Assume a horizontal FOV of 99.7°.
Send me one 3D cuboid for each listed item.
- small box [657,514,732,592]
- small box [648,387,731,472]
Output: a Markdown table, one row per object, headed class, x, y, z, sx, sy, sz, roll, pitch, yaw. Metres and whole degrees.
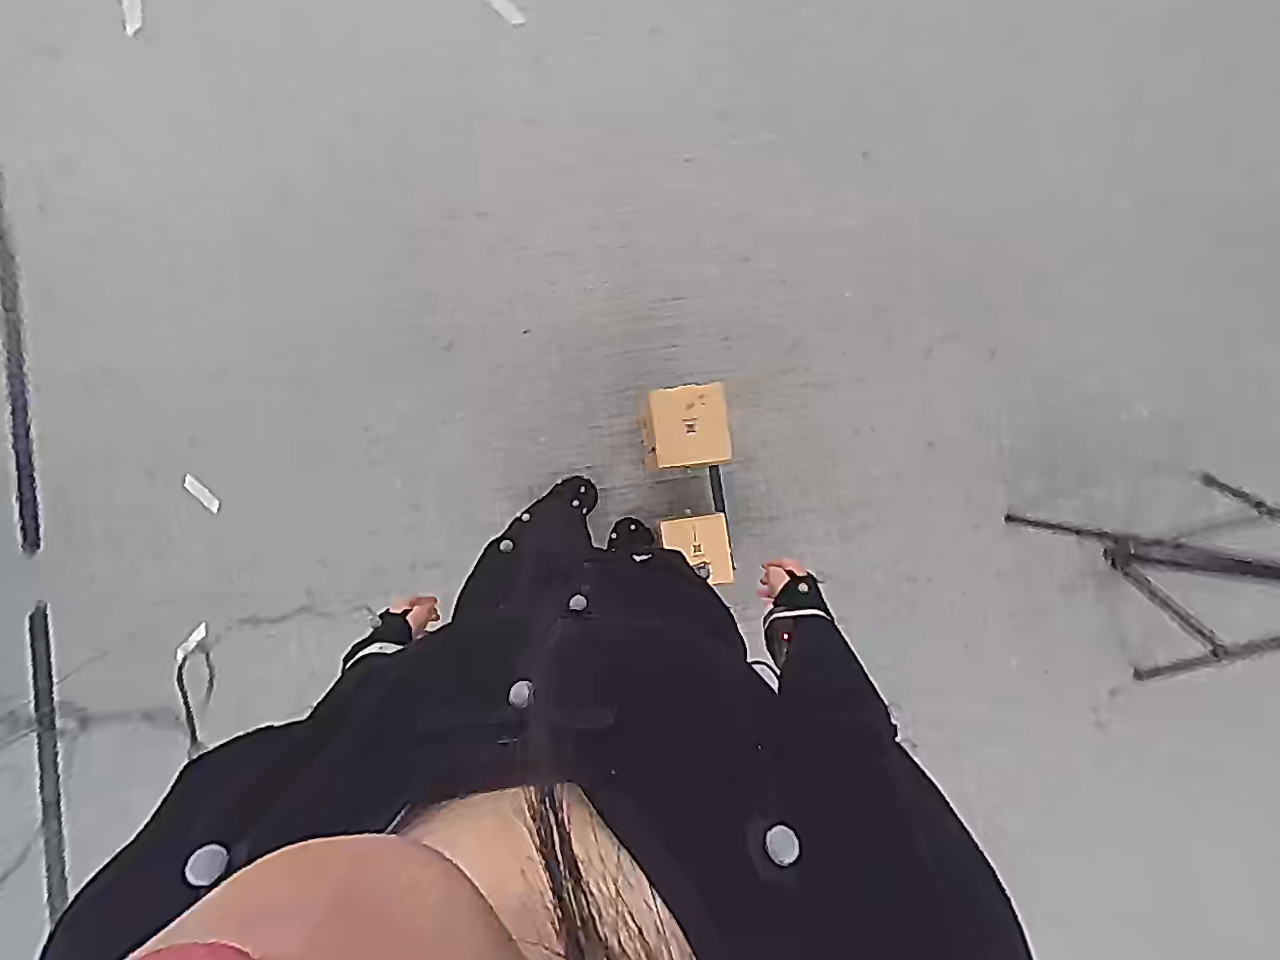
| class | x | y | z | sx | sy | sz | roll | pitch | yaw |
| --- | --- | --- | --- | --- | --- | --- | --- | --- | --- |
| small box | 0.138 | 0.187 | 1.422 | 0.168 | 0.176 | 0.179 | -7 | 87 | -2 |
| small box | 0.110 | -0.112 | 1.265 | 0.168 | 0.176 | 0.179 | -6 | 88 | -3 |
